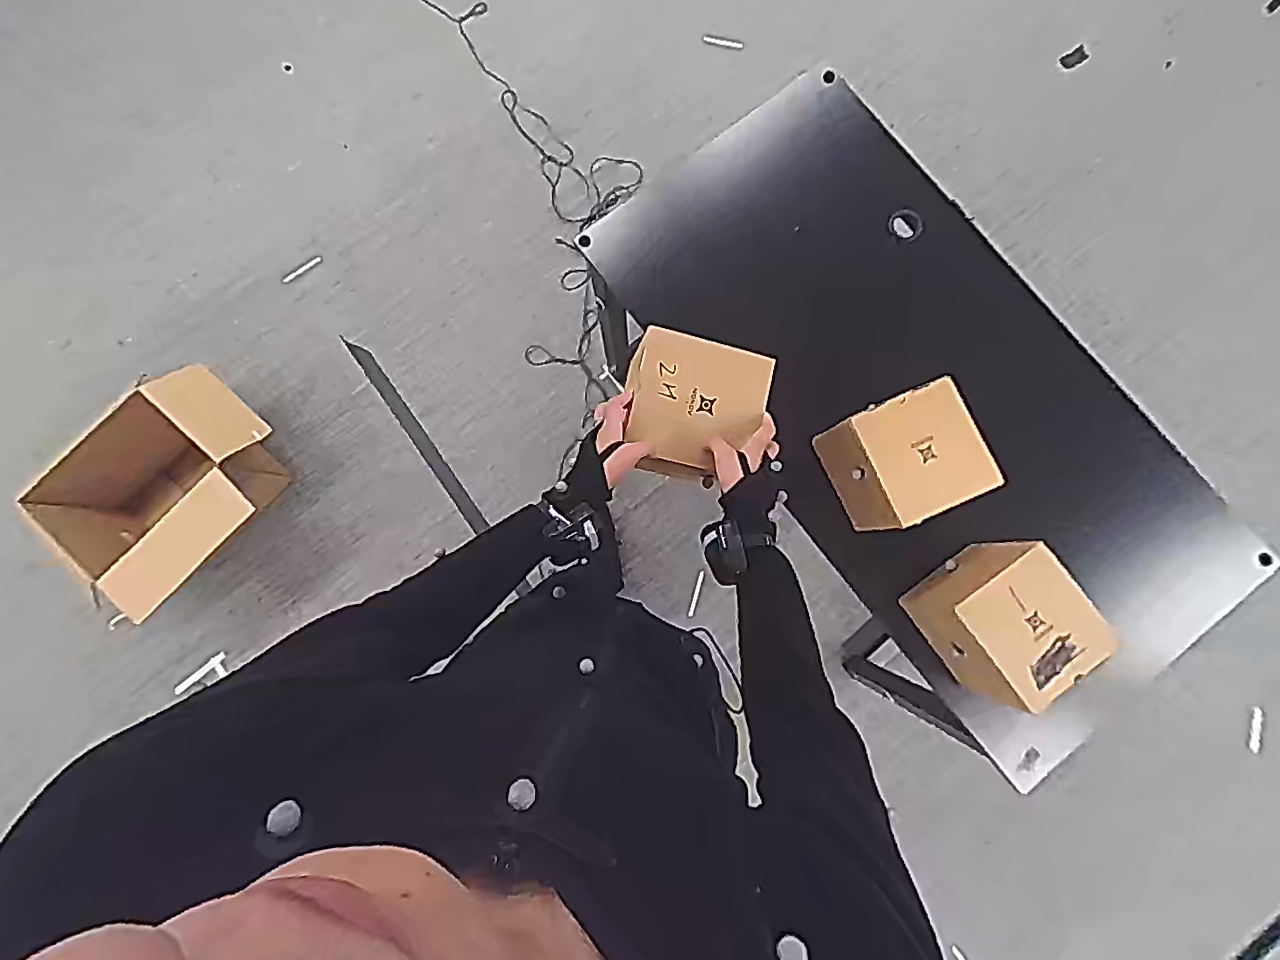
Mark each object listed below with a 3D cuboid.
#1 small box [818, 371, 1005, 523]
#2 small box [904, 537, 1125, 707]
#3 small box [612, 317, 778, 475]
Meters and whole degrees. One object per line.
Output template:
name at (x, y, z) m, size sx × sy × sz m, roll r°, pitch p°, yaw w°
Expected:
small box at (0.410, -0.041, 0.849) m, size 0.168 × 0.176 × 0.179 m, roll -24°, pitch 83°, yaw -3°
small box at (0.547, 0.202, 0.817) m, size 0.168 × 0.176 × 0.179 m, roll -35°, pitch 83°, yaw -4°
small box at (0.067, -0.104, 0.760) m, size 0.179 × 0.176 × 0.168 m, roll 13°, pitch 85°, yaw -7°
